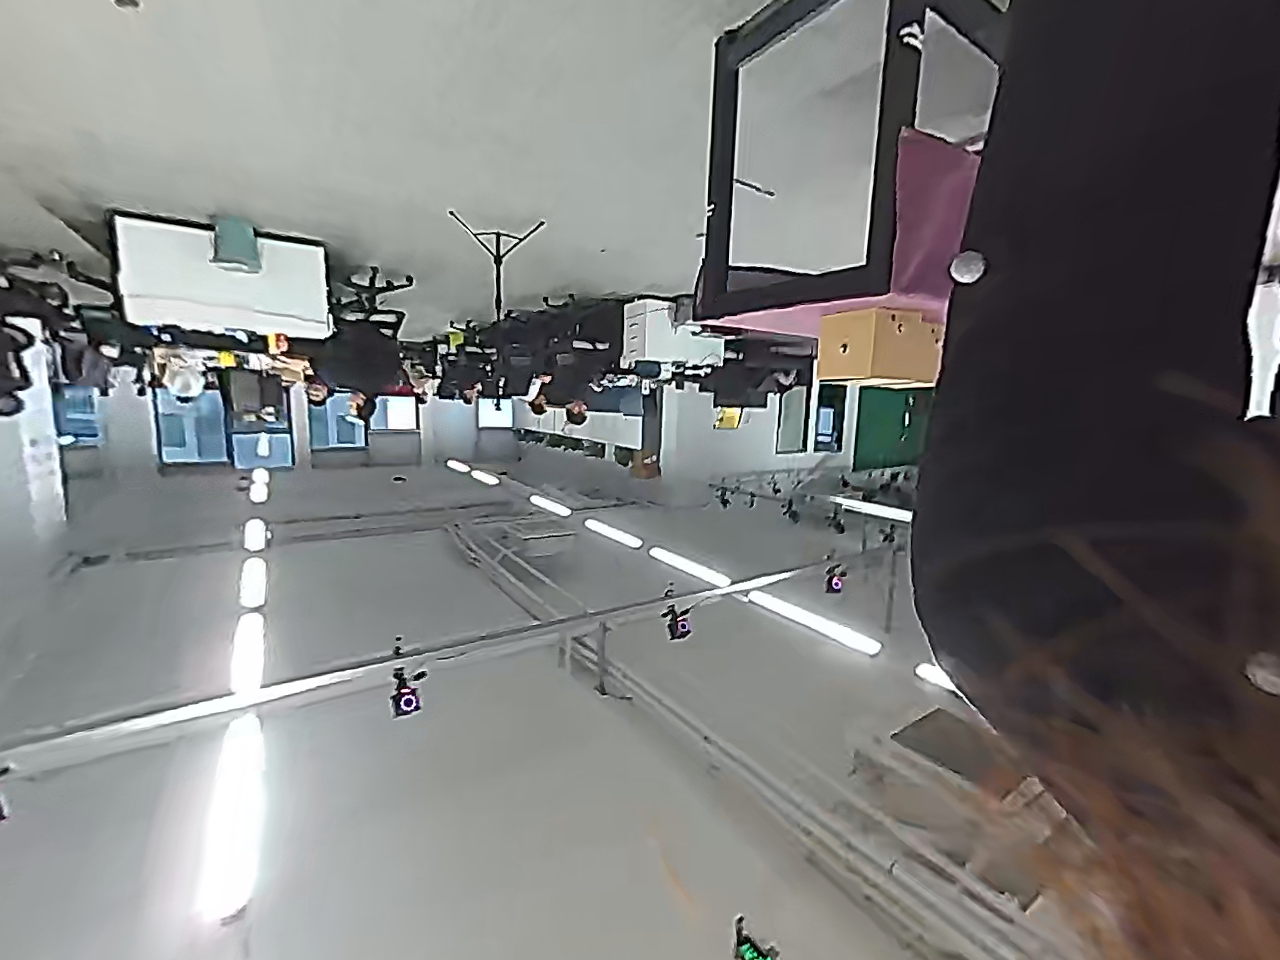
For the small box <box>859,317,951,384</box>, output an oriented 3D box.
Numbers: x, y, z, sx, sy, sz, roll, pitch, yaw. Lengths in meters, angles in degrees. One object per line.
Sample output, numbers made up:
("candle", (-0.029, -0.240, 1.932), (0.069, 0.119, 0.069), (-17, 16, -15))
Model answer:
("small box", (0.770, -0.372, 1.571), (0.168, 0.176, 0.179), (-4, -171, -29))
